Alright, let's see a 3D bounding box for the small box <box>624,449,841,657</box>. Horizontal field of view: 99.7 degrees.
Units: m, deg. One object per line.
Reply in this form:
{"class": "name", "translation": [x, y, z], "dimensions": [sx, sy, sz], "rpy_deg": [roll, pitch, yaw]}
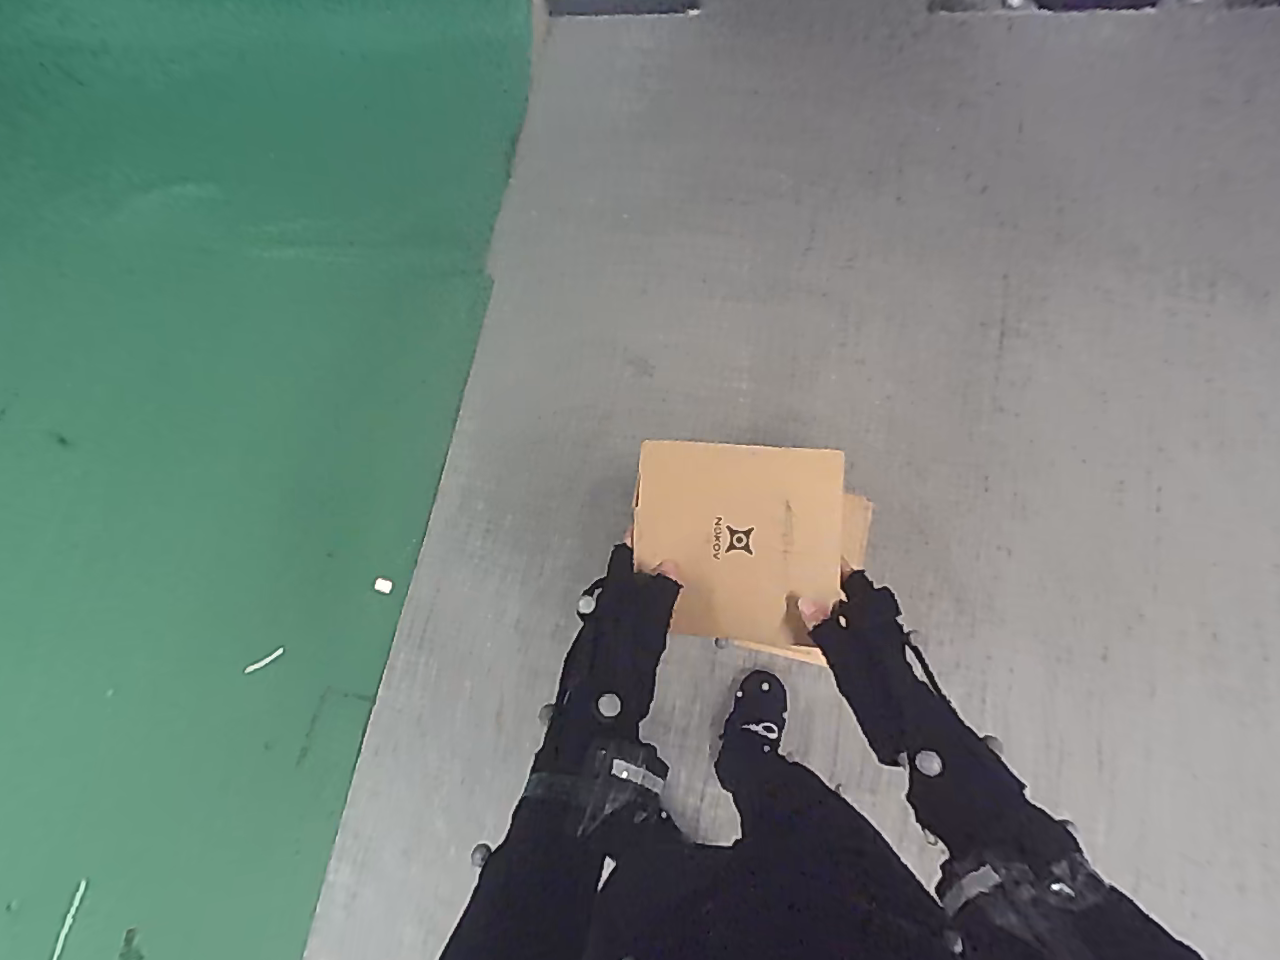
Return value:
{"class": "small box", "translation": [0.085, 0.067, 0.532], "dimensions": [0.179, 0.176, 0.168], "rpy_deg": [3, 85, 6]}
